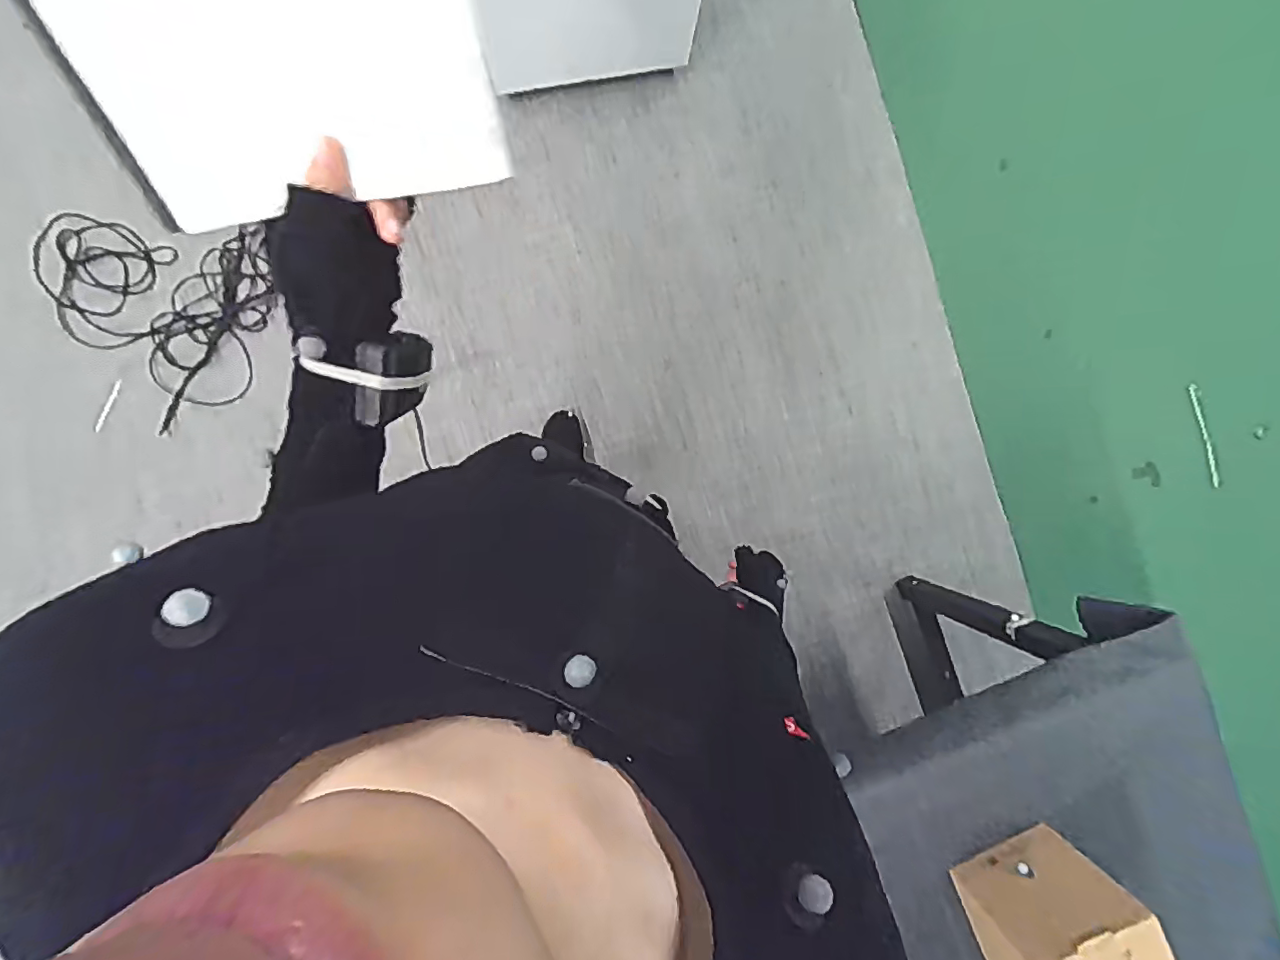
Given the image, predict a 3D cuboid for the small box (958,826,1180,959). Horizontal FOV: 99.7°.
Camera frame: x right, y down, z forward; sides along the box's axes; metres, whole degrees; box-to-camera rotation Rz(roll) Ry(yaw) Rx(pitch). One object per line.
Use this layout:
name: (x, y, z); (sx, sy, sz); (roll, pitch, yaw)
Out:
small box: (0.578, 0.624, 0.729); (0.168, 0.176, 0.179); (-24, 93, -4)
